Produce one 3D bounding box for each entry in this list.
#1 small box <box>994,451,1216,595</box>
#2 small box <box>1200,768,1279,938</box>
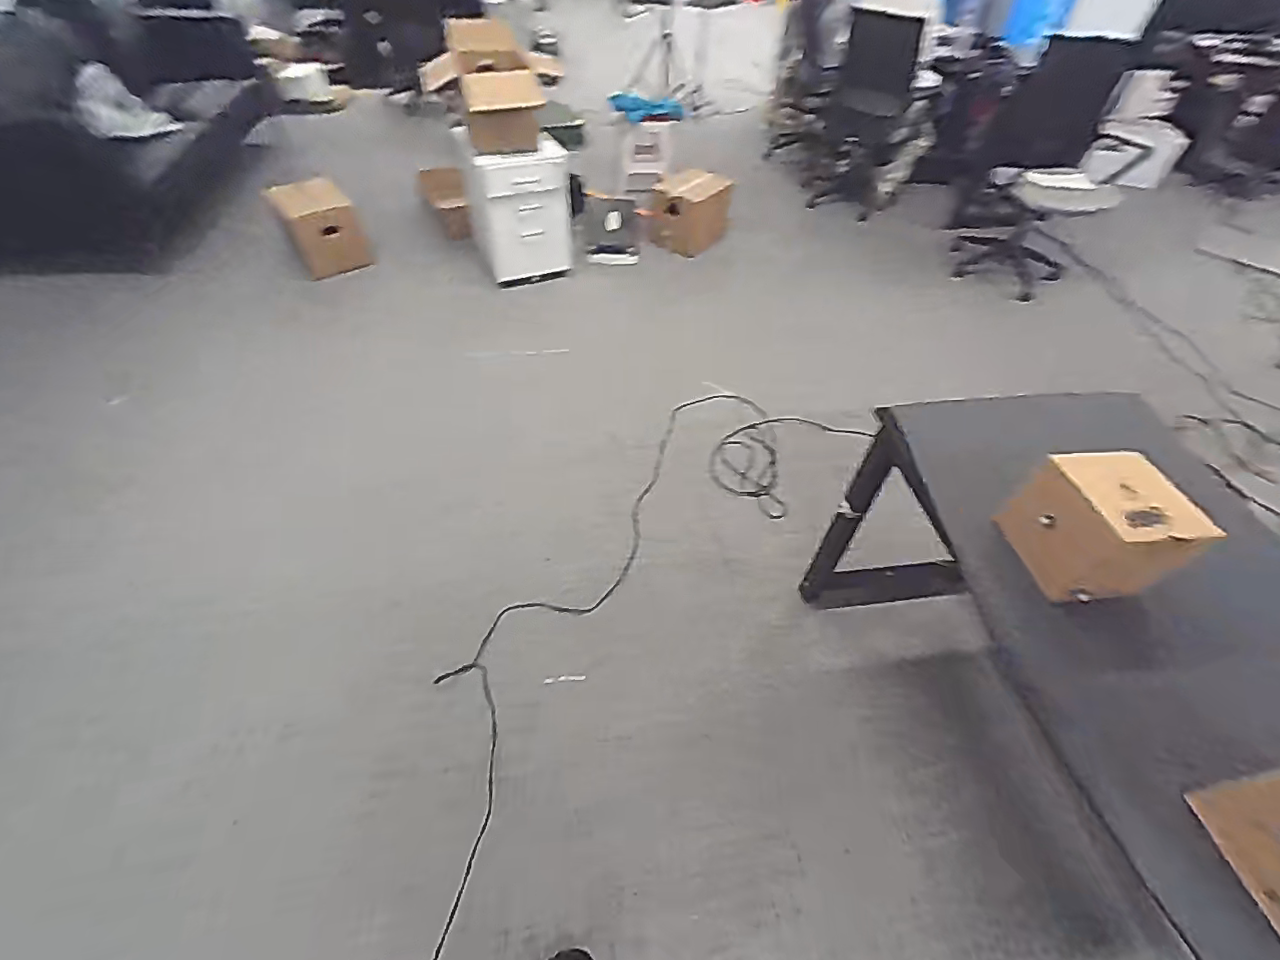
[{"bbox_3d":[0.730,0.075,0.876,0.168,0.176,0.179,-2,48,-7],"label":"small box"},{"bbox_3d":[0.784,0.408,0.584,0.179,0.176,0.168,-3,48,-8],"label":"small box"}]
